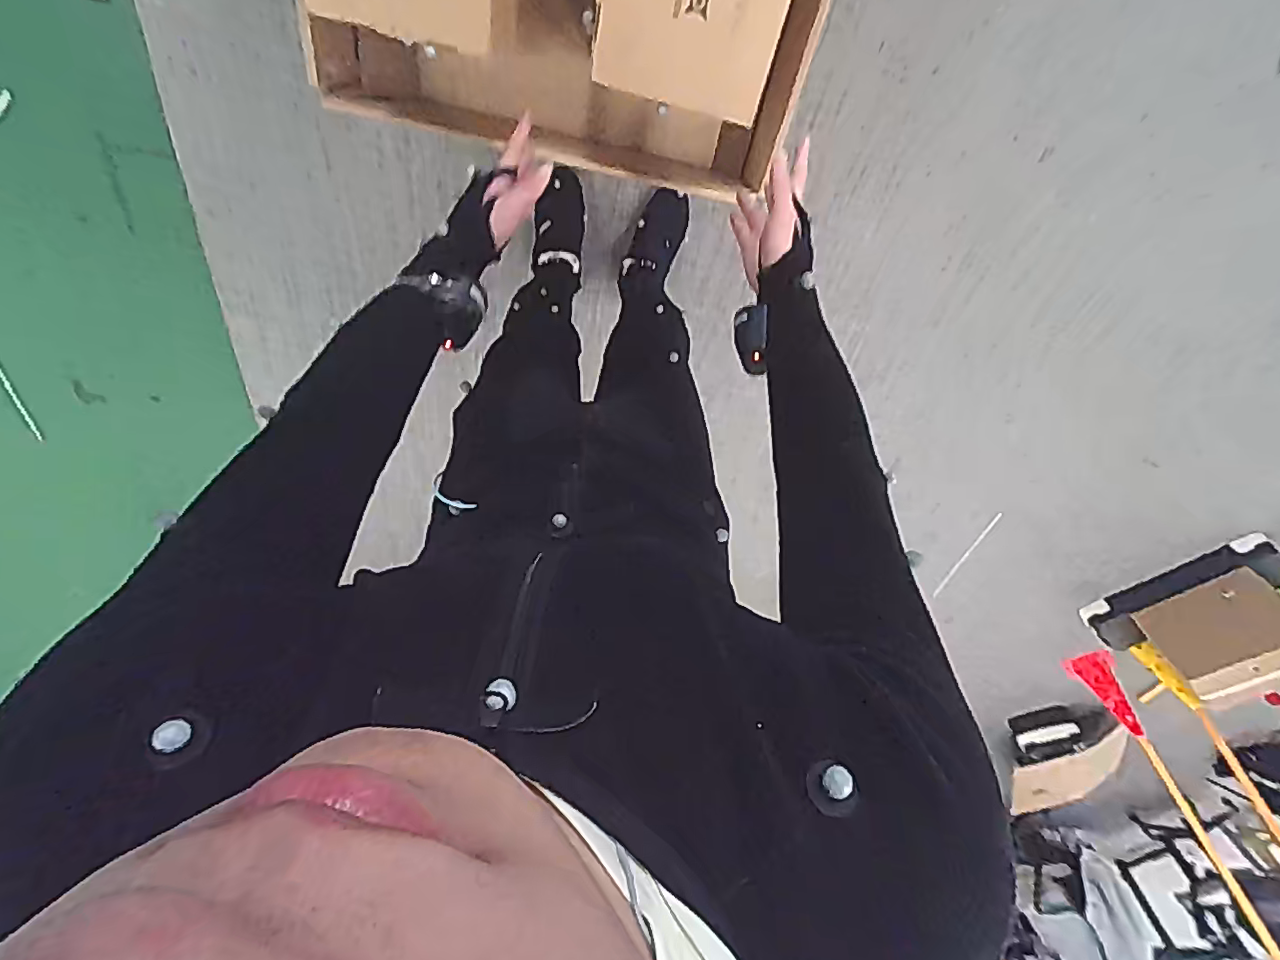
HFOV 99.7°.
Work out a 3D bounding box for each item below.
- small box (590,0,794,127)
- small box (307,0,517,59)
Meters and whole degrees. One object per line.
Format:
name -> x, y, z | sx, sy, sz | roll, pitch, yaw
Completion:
small box -> 0.050, -0.492, 0.557 | 0.179, 0.176, 0.168 | 9, 130, -11
small box -> -0.205, -0.527, 0.509 | 0.168, 0.176, 0.179 | 8, 128, -10
